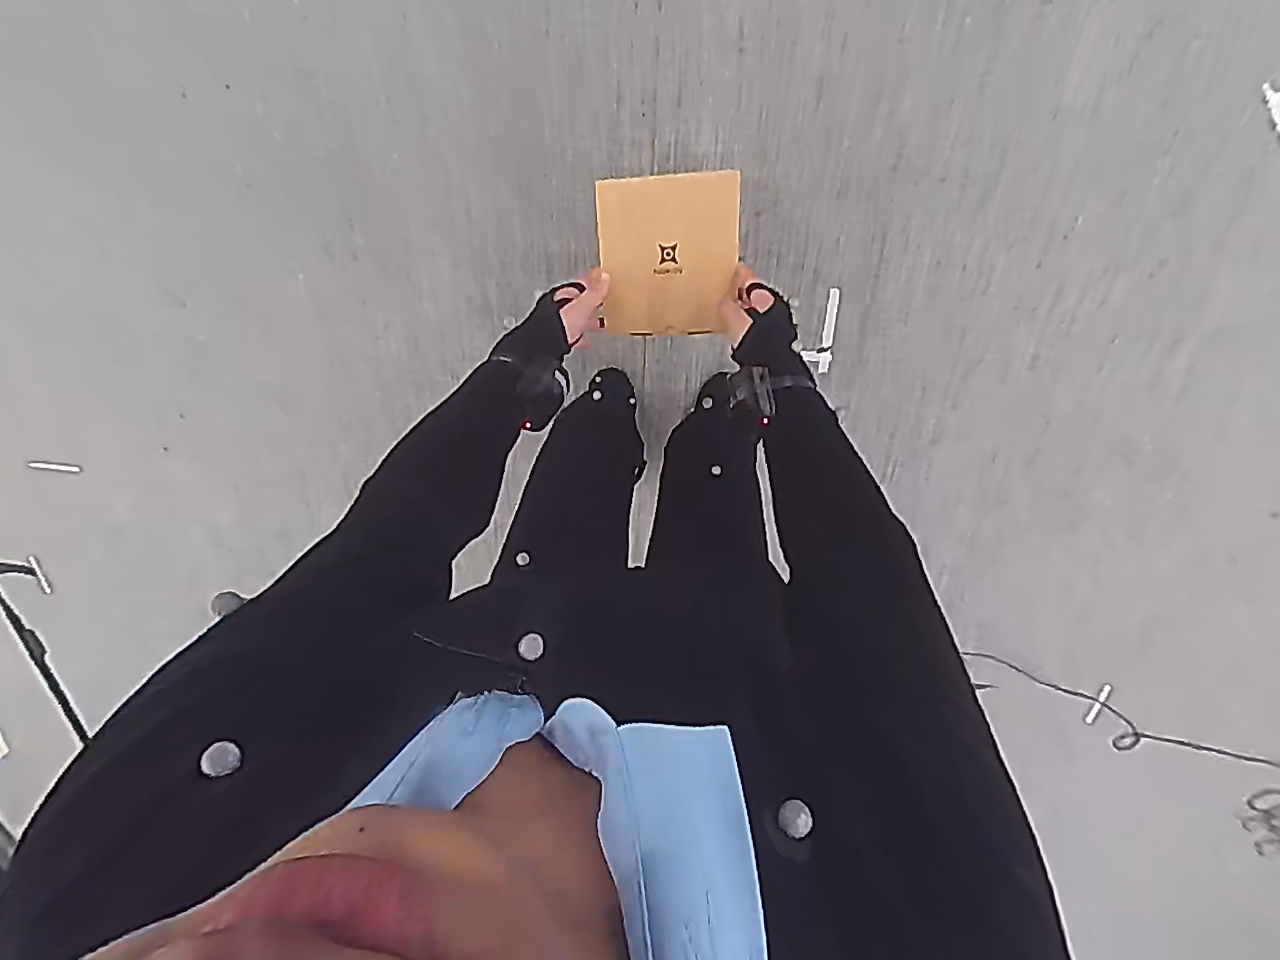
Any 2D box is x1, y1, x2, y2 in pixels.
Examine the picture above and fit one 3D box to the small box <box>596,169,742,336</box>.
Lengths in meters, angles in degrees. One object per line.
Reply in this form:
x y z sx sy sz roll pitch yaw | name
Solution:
0.043 -0.286 0.700 0.168 0.176 0.179 1 112 9 | small box
